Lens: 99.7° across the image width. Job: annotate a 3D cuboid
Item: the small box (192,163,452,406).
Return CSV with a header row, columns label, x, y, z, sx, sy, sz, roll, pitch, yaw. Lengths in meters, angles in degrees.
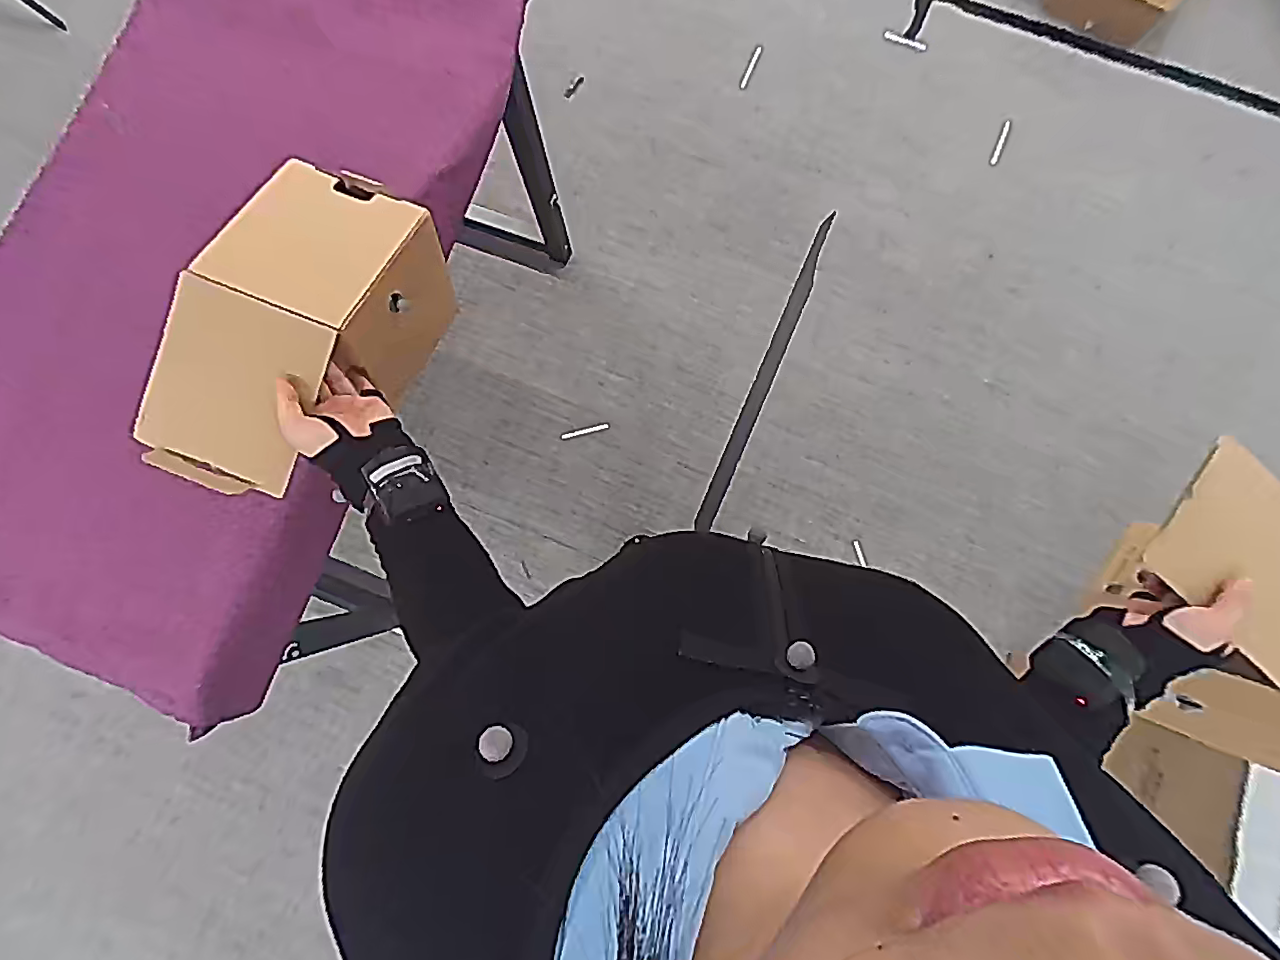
label,x,y,z,sx,sy,sz,roll,pitch,yaw
small box,-0.341,-0.213,0.627,0.168,0.176,0.179,21,69,2
